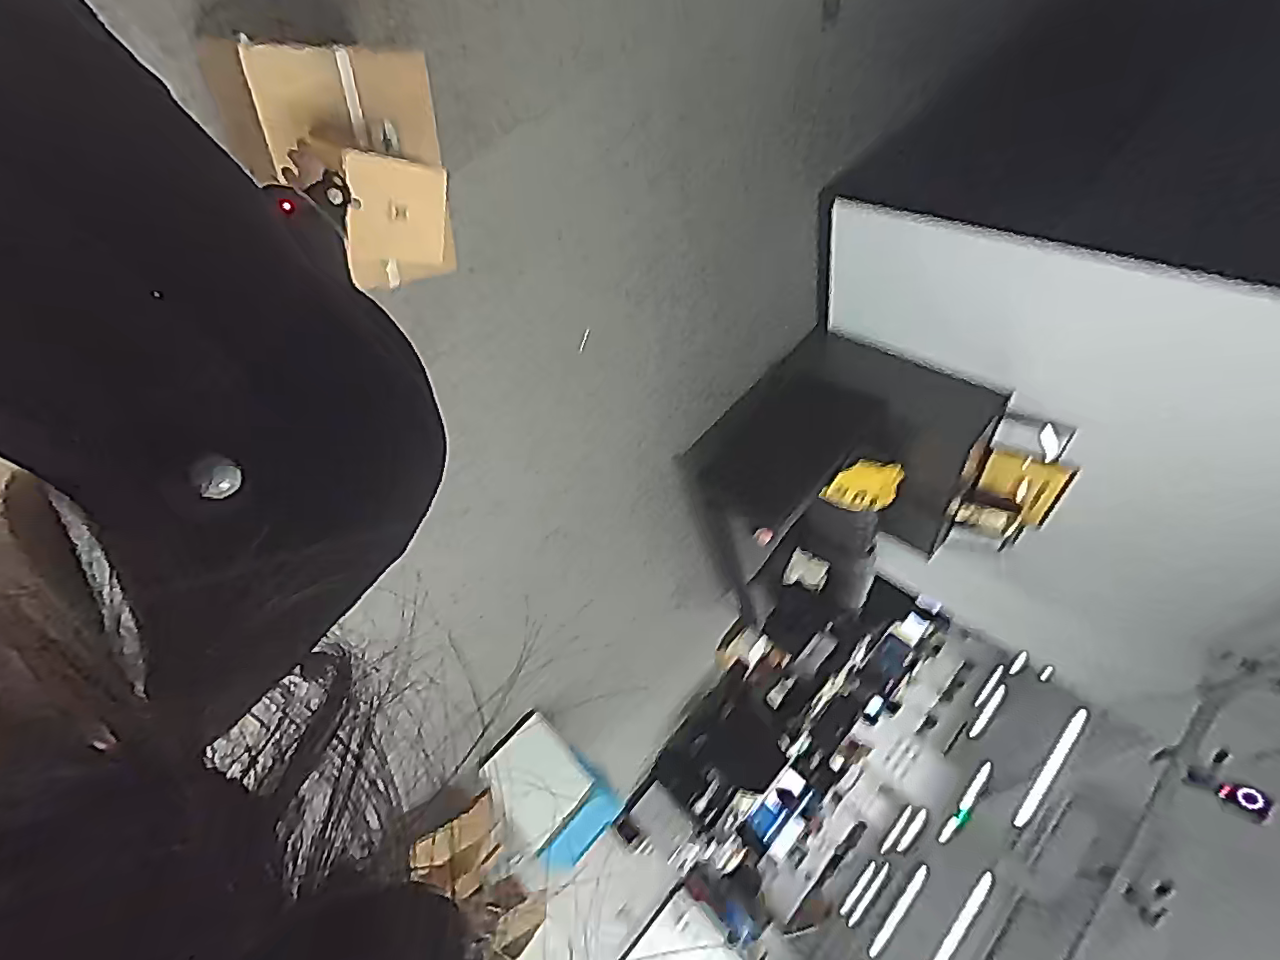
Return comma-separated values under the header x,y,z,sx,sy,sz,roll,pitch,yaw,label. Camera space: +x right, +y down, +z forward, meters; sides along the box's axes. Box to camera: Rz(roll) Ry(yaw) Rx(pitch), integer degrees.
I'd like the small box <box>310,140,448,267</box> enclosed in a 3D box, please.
x,y,z,sx,sy,sz,roll,pitch,yaw,label
-0.476,-0.502,0.987,0.179,0.176,0.168,-14,130,-42,small box

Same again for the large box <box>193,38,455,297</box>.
x,y,z,sx,sy,sz,roll,pitch,yaw,label
-0.628,-0.646,1.118,0.320,0.320,0.408,-29,138,-35,large box
